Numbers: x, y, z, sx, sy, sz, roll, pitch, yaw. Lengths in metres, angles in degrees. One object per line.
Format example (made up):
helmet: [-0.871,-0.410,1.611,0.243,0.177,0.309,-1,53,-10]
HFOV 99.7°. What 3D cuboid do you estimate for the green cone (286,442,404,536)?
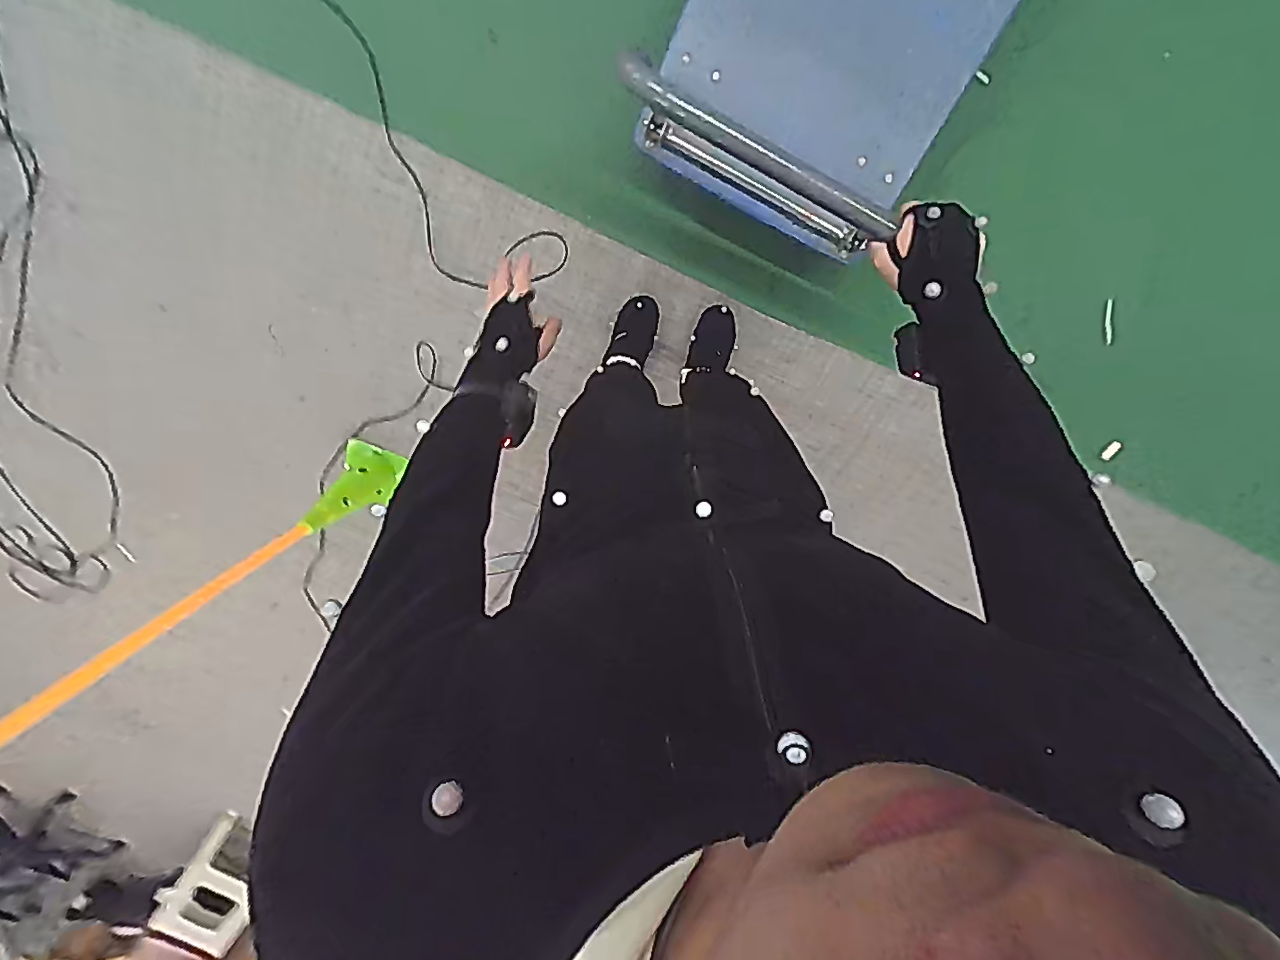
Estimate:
green cone: [-0.871,0.059,1.557,0.202,0.368,0.200,21,113,-3]
